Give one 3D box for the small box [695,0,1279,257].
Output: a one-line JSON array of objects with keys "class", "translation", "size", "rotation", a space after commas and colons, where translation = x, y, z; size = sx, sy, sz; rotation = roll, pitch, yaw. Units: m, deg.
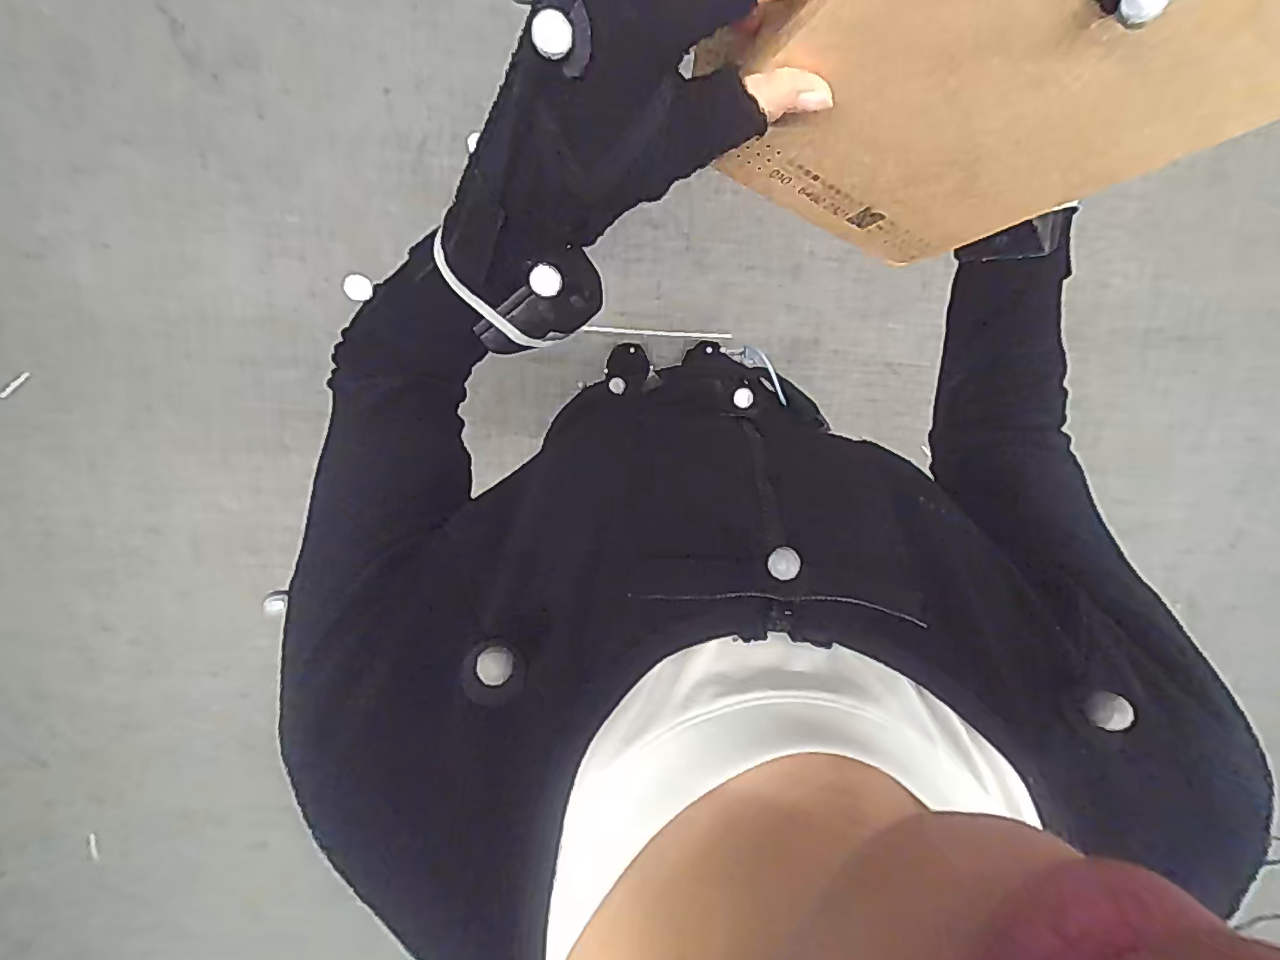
[{"class": "small box", "translation": [0.140, -0.235, 0.238], "size": [0.168, 0.176, 0.179], "rotation": [10, 82, -29]}]
